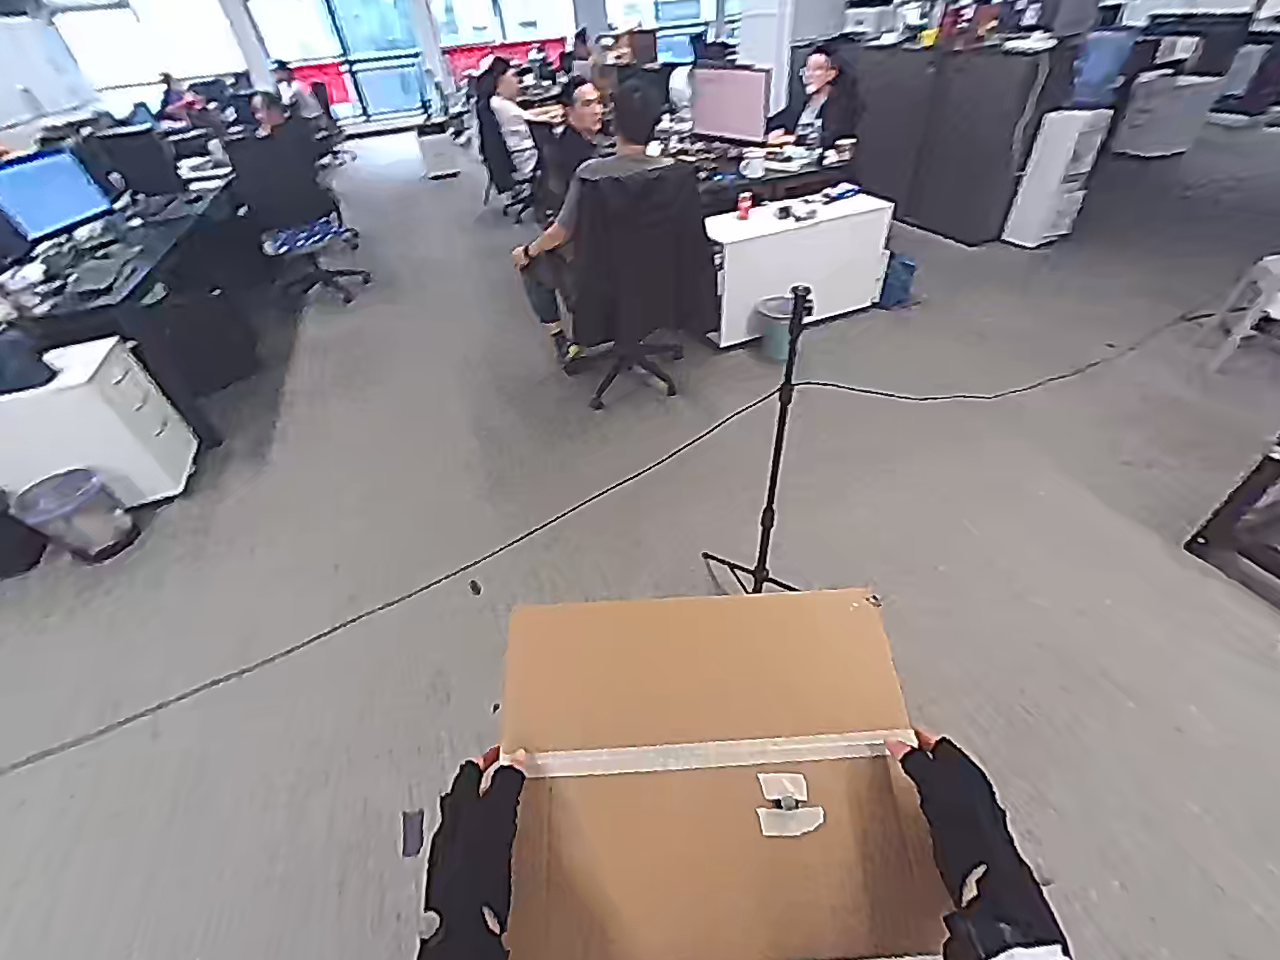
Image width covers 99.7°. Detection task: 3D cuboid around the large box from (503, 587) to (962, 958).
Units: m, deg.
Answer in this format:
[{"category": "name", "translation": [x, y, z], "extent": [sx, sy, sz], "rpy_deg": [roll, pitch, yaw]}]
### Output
[{"category": "large box", "translation": [0.074, 0.342, 0.663], "extent": [0.408, 0.320, 0.320], "rpy_deg": [-2, 59, 0]}]
